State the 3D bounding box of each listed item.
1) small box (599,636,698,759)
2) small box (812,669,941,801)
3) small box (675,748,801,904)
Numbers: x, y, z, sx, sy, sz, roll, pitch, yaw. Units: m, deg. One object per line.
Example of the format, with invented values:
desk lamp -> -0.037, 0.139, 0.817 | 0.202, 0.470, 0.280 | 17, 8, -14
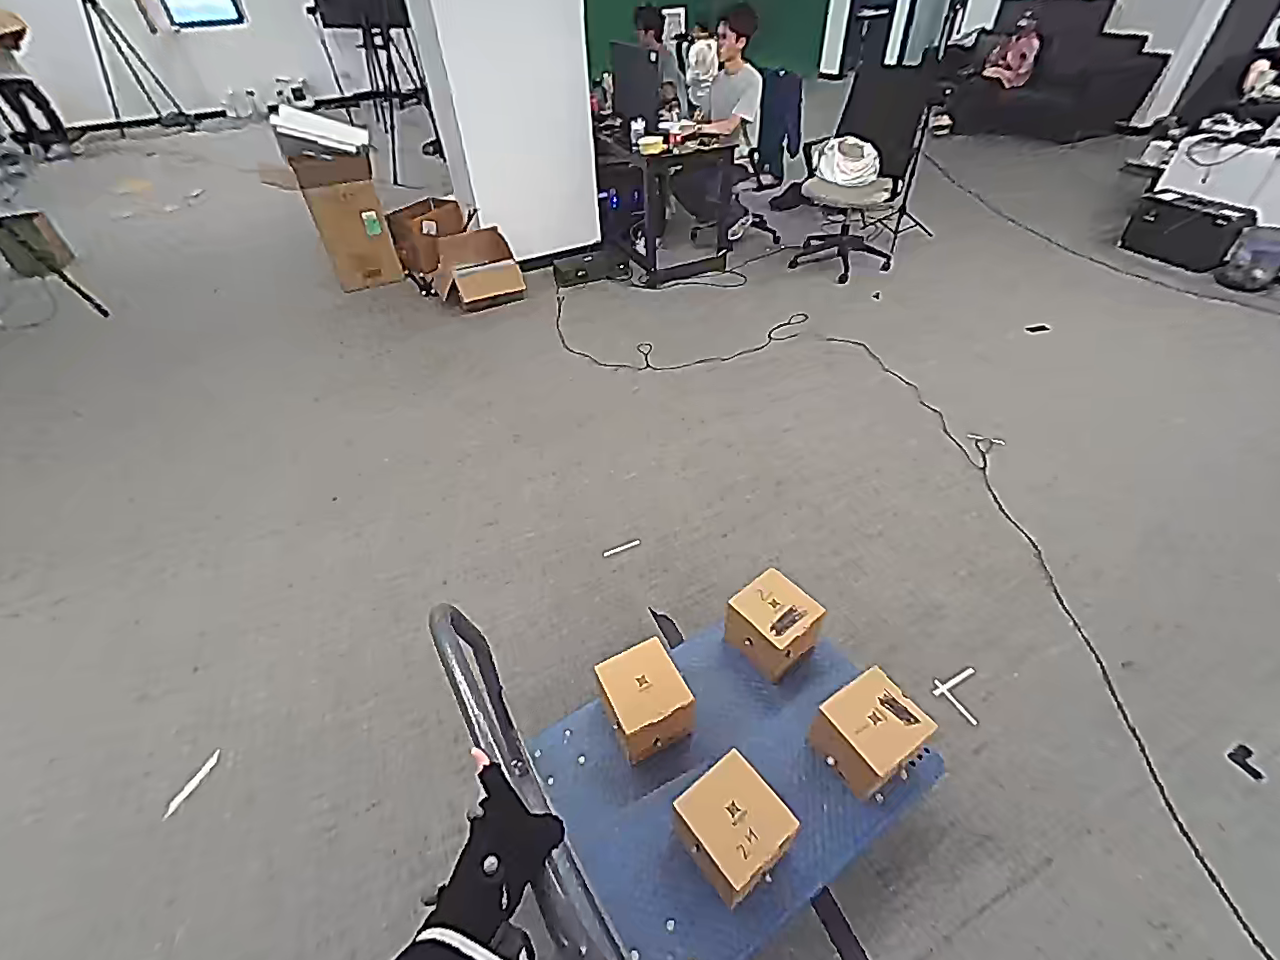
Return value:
small box -> 0.015, 0.502, 1.246 | 0.168, 0.176, 0.179 | -21, 48, -18
small box -> 0.499, 0.550, 1.168 | 0.179, 0.176, 0.168 | -25, 48, -20
small box -> 0.182, 0.675, 1.054 | 0.168, 0.176, 0.179 | -28, 49, -24
